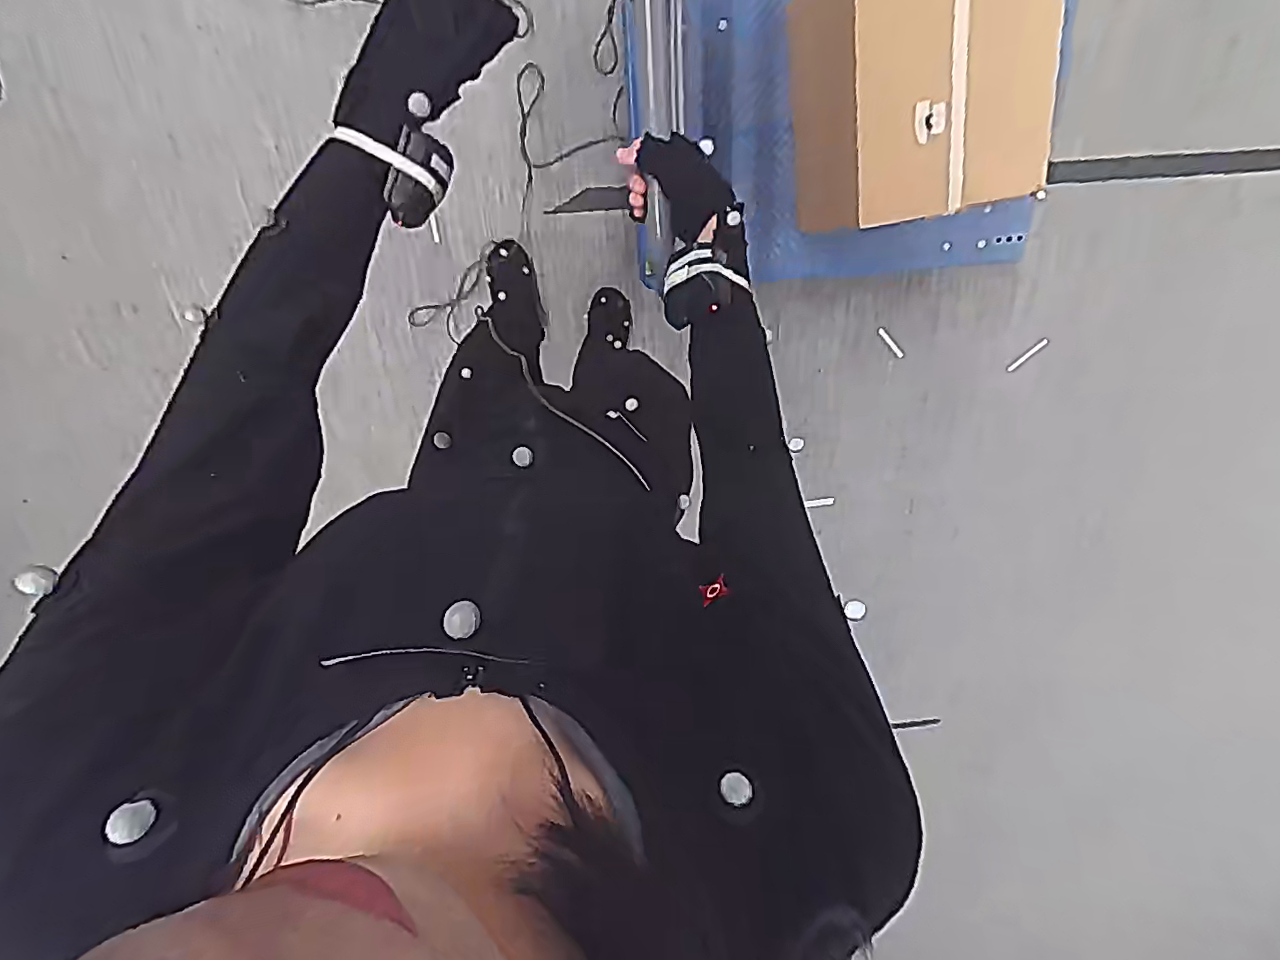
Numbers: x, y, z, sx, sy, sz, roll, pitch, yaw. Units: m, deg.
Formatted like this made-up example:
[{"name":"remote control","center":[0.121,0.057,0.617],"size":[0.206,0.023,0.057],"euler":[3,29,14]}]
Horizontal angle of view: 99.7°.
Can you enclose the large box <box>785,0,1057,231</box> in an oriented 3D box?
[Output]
[{"name":"large box","center":[0.469,-0.691,0.959],"size":[0.320,0.320,0.408],"euler":[-11,115,2]}]
